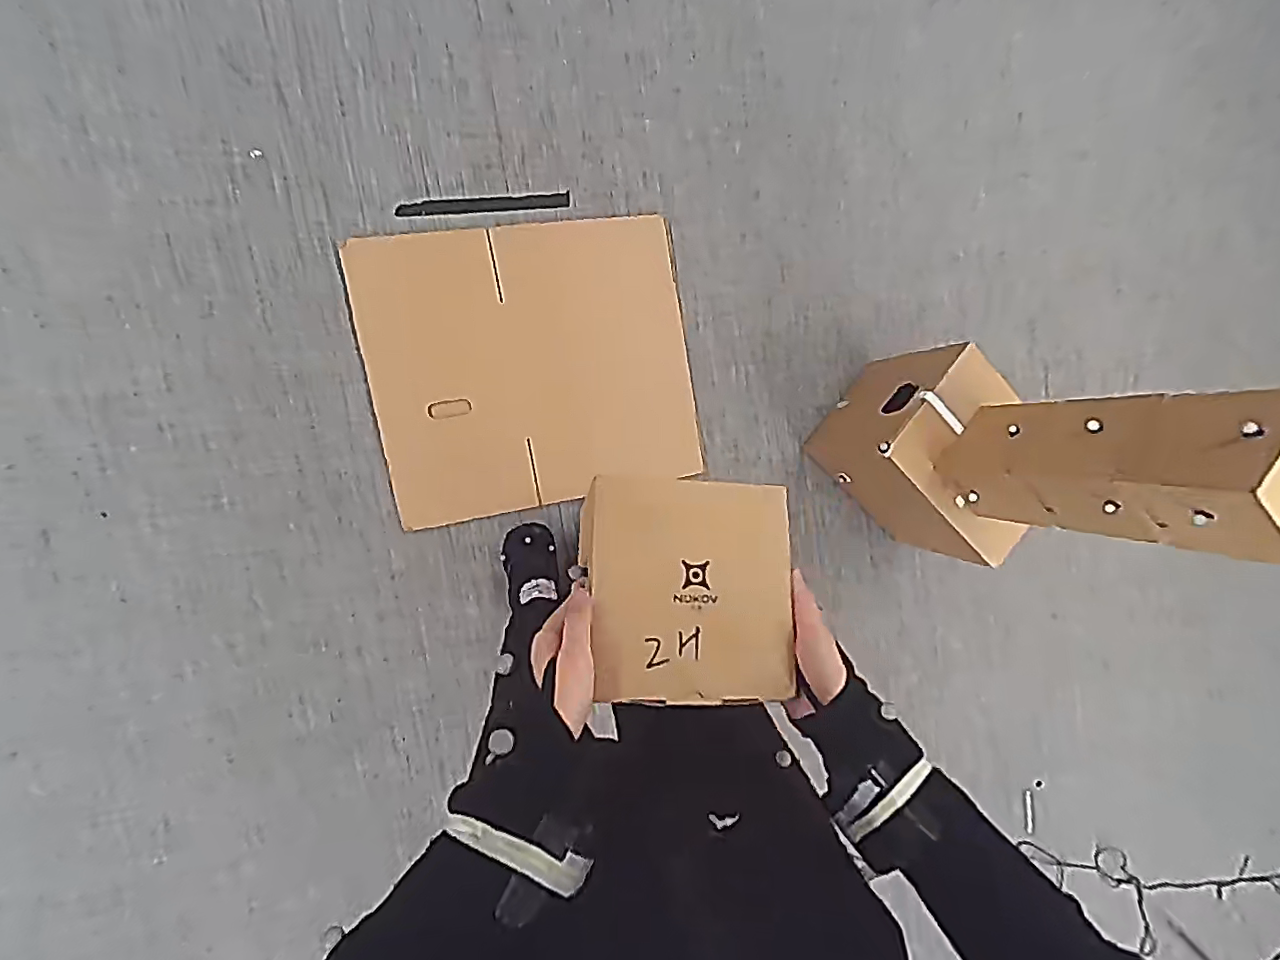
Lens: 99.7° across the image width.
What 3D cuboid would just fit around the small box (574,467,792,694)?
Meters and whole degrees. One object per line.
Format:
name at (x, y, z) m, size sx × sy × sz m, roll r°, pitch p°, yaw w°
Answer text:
small box at (0.026, 0.099, 0.507) m, size 0.168 × 0.176 × 0.179 m, roll 3°, pitch 75°, yaw -9°

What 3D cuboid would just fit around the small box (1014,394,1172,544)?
small box at (0.784, -0.022, 0.909) m, size 0.168 × 0.176 × 0.179 m, roll 41°, pitch 83°, yaw -13°

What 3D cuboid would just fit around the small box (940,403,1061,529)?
small box at (0.741, -0.031, 1.067) m, size 0.168 × 0.176 × 0.179 m, roll 41°, pitch 84°, yaw -14°

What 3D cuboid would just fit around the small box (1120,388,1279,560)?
small box at (0.826, -0.006, 0.752) m, size 0.168 × 0.176 × 0.179 m, roll 41°, pitch 84°, yaw -14°
